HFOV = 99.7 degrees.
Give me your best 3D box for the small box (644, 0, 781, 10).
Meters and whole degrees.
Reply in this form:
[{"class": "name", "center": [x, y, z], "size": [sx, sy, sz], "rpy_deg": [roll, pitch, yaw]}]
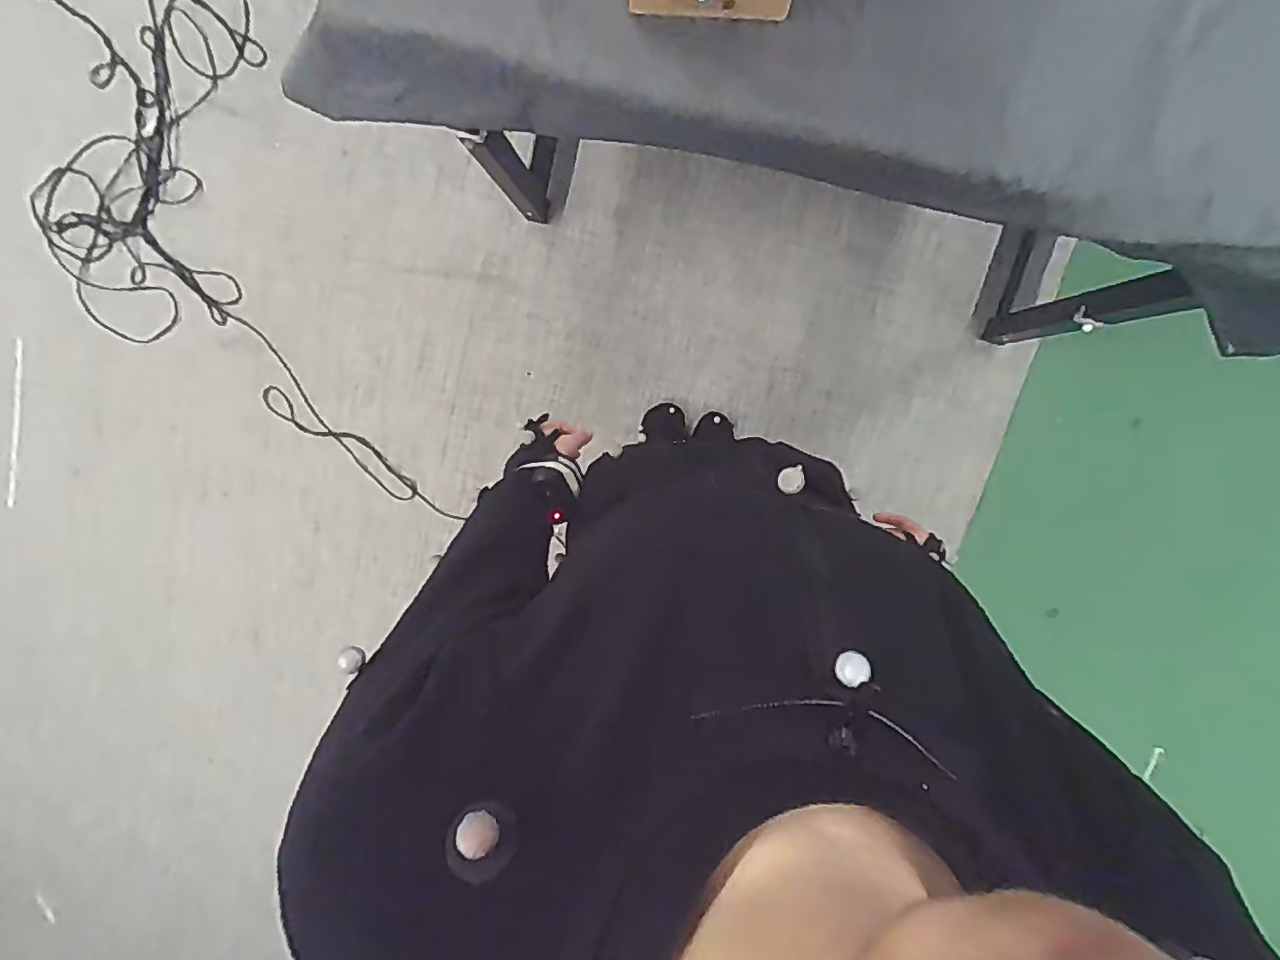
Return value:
[{"class": "small box", "center": [0.071, -0.568, 0.470], "size": [0.168, 0.176, 0.179], "rpy_deg": [5, 99, 3]}]
